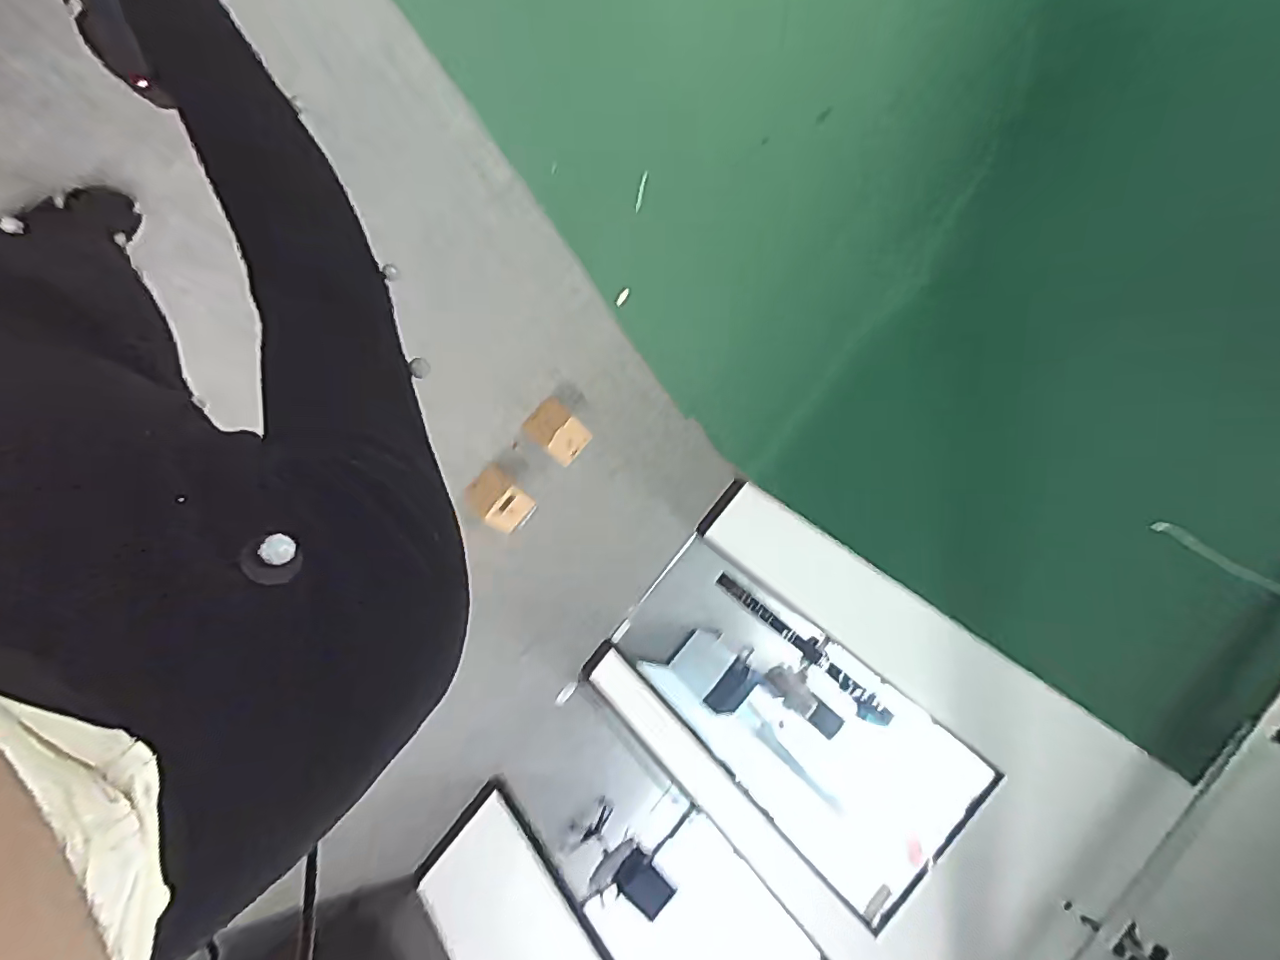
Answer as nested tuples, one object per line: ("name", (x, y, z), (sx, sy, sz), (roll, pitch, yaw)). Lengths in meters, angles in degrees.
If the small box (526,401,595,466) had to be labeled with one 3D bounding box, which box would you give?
("small box", (-0.316, -0.191, 2.139), (0.168, 0.176, 0.179), (-49, 147, -3))
